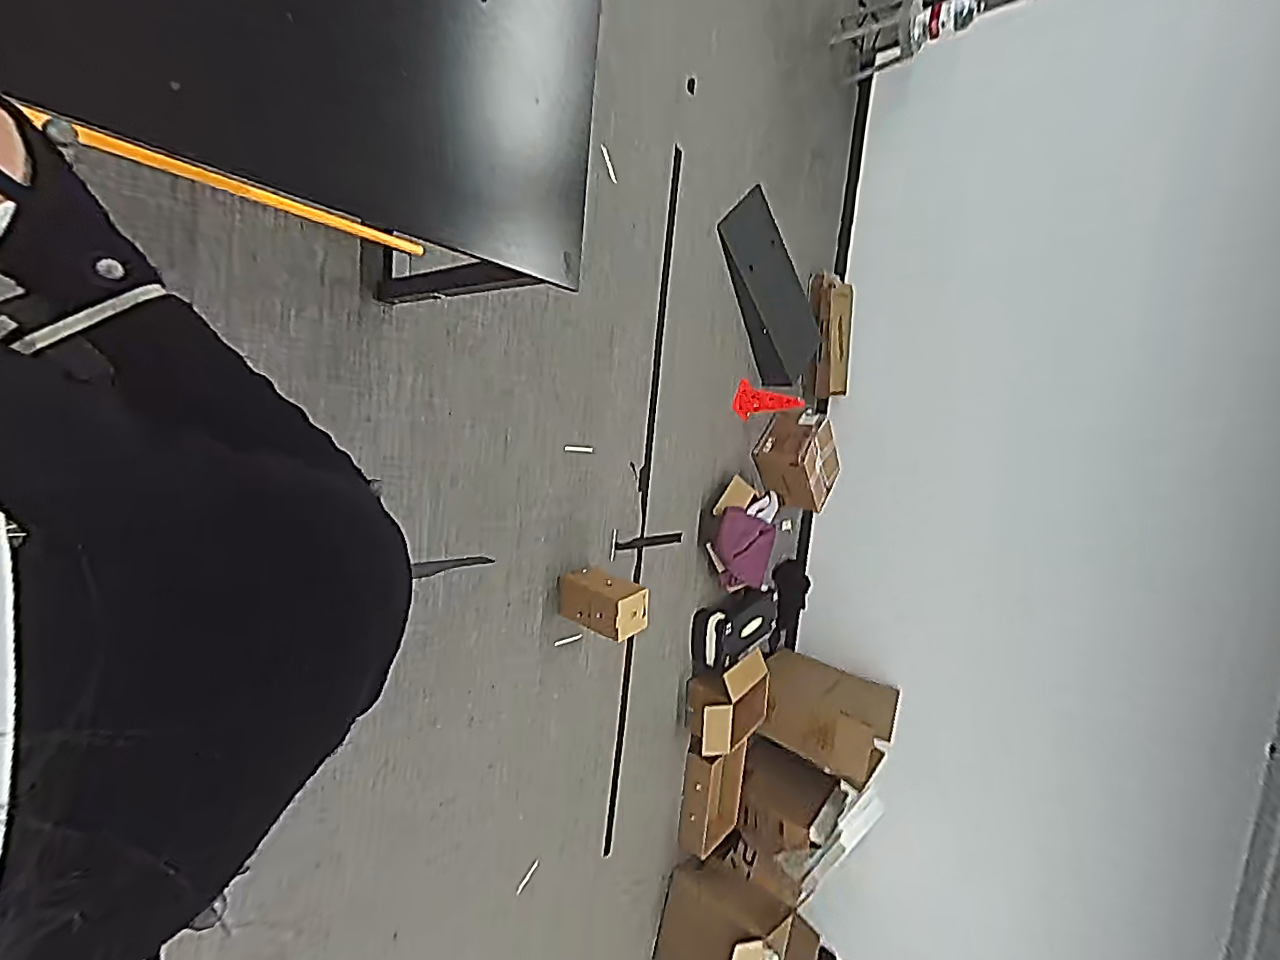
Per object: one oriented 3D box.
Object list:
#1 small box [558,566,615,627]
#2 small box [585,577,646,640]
[{"bbox_3d":[-0.218,0.465,2.178,0.168,0.176,0.179,-10,106,-50],"label":"small box"},{"bbox_3d":[-0.098,0.487,2.070,0.179,0.176,0.168,-12,107,-49],"label":"small box"}]
